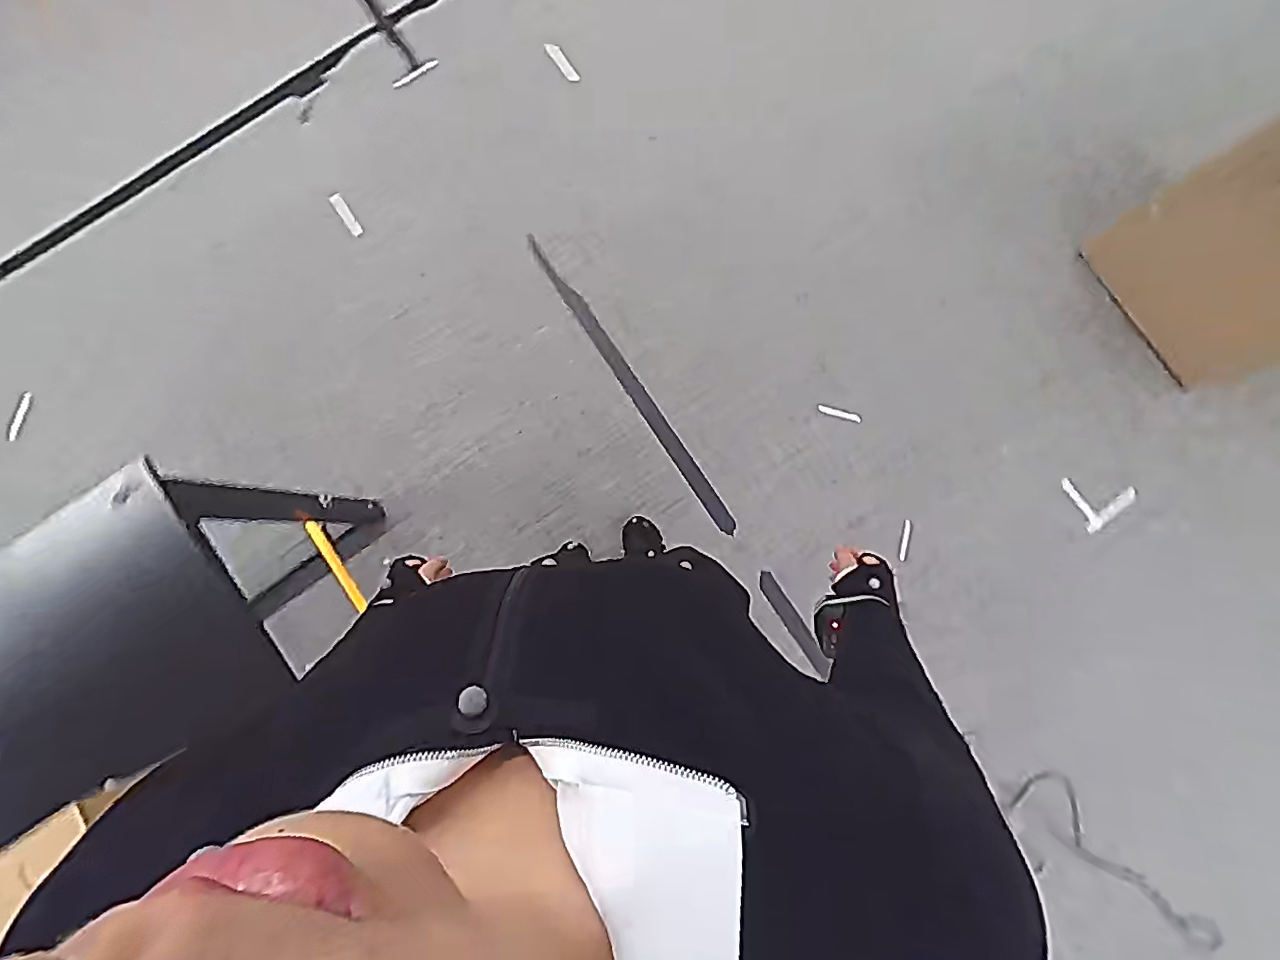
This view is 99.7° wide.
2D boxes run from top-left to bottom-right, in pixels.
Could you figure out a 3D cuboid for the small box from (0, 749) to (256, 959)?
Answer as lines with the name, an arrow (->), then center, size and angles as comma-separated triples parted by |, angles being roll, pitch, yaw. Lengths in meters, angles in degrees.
small box -> -0.631, 0.475, 0.665 | 0.168, 0.176, 0.179 | -35, 84, -3
